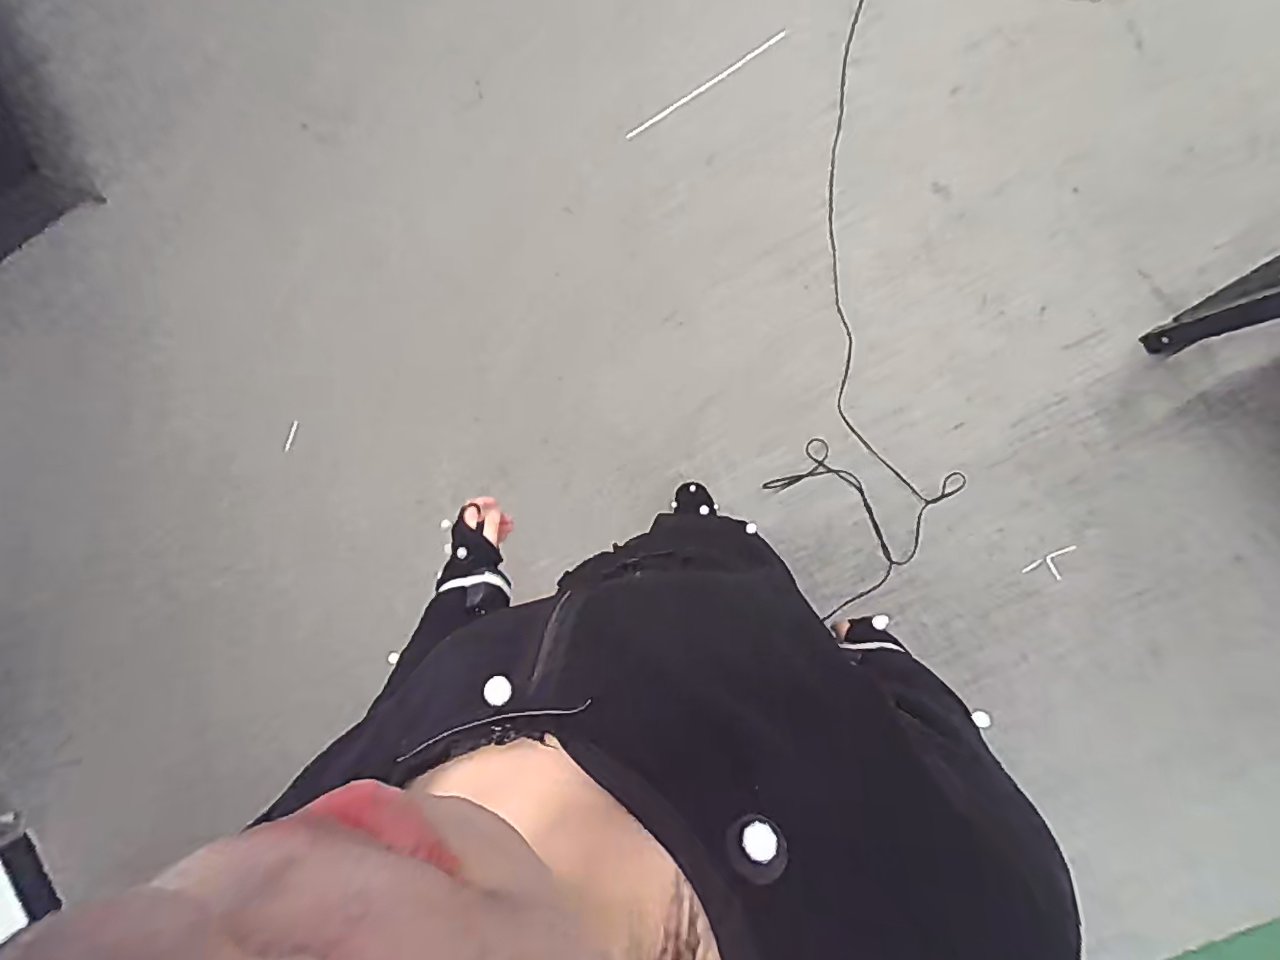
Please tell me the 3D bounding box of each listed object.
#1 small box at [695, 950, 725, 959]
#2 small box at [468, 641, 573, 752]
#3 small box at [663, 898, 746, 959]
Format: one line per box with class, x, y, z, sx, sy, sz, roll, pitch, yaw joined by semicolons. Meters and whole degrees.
small box;0.149;1.253;1.250;0.179;0.176;0.168;-31;85;7
small box;-0.275;0.511;1.302;0.179;0.176;0.168;-25;87;9
small box;0.169;1.252;1.413;0.179;0.176;0.168;-30;86;8
